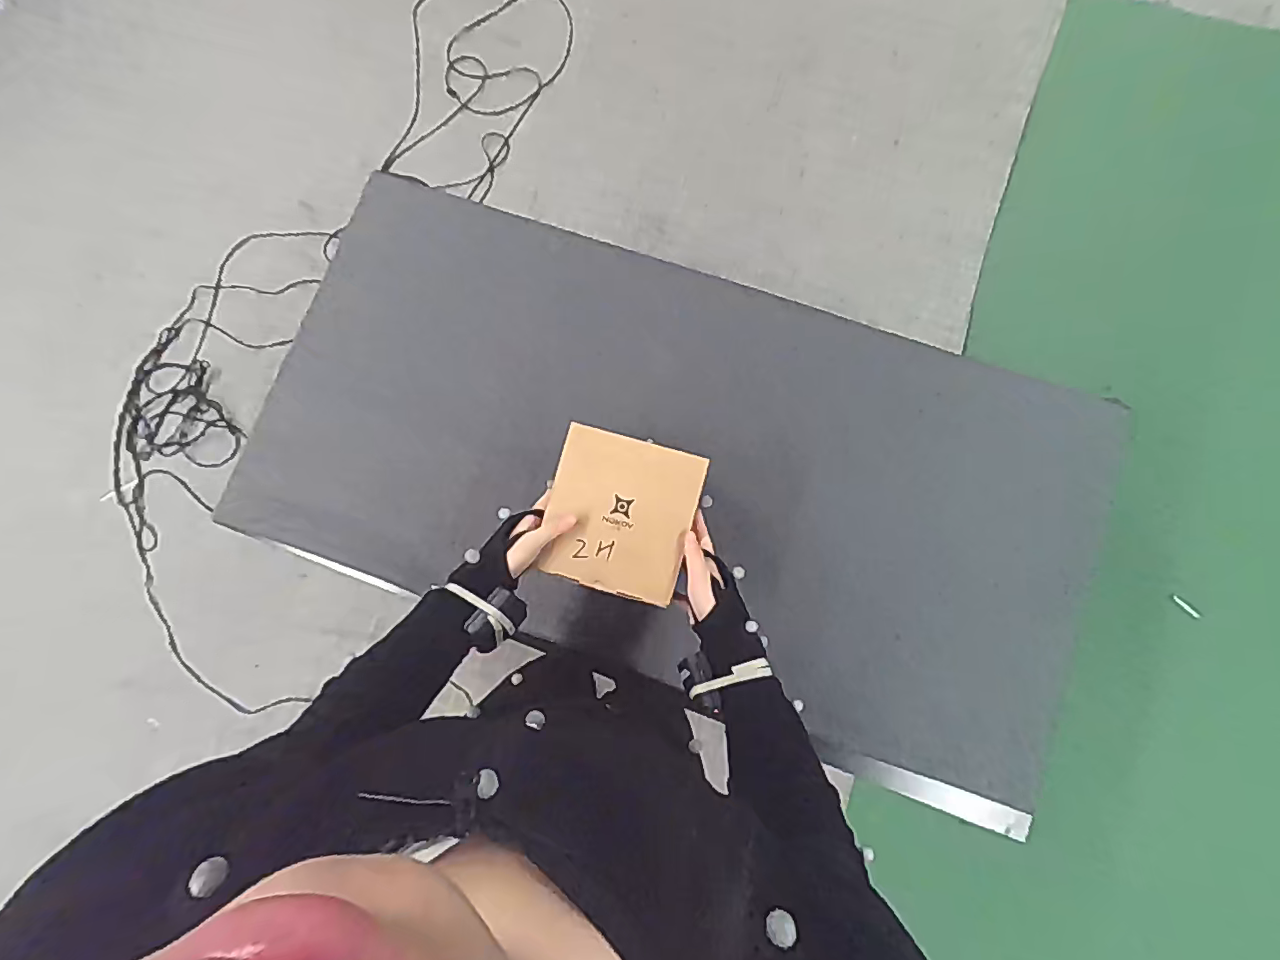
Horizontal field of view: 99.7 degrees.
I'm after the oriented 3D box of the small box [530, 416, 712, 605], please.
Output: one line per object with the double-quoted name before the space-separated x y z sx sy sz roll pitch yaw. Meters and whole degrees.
"small box" -0.018 0.040 0.672 0.168 0.176 0.179 15 85 5
